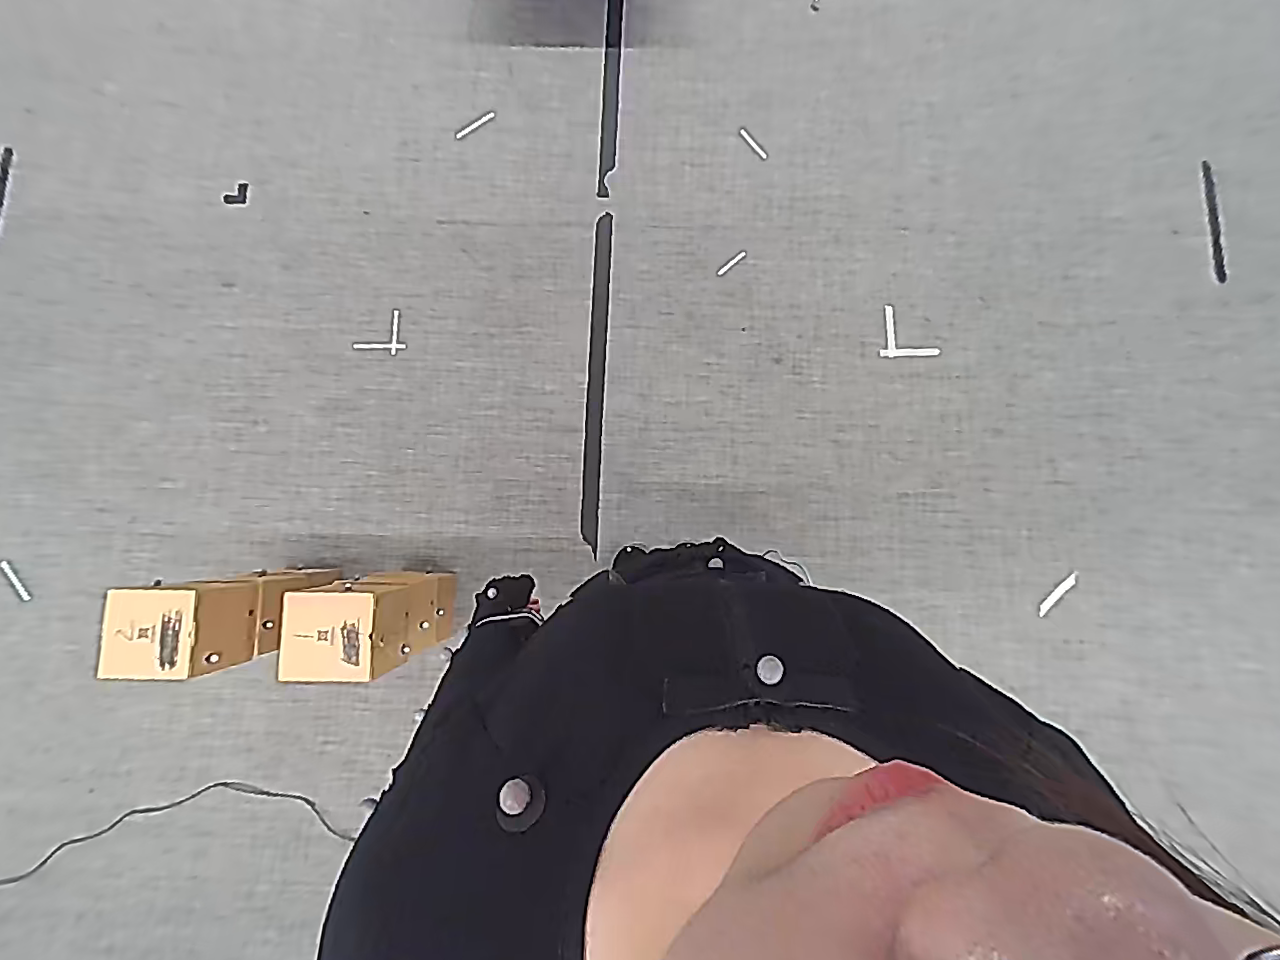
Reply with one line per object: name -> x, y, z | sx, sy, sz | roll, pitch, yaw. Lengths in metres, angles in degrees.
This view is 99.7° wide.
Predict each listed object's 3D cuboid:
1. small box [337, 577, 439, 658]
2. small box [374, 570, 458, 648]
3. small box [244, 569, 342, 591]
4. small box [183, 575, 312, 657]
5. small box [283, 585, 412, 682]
small box -> -0.585, 0.316, 1.267 | 0.179, 0.176, 0.168 | -1, 84, 0
small box -> -0.593, 0.334, 1.428 | 0.168, 0.176, 0.179 | 3, 83, 0
small box -> -0.914, 0.329, 1.429 | 0.168, 0.176, 0.179 | -1, 83, 0
small box -> -0.909, 0.313, 1.265 | 0.179, 0.176, 0.168 | -1, 84, 1
small box -> -0.584, 0.305, 1.103 | 0.179, 0.176, 0.168 | 0, 84, 1
